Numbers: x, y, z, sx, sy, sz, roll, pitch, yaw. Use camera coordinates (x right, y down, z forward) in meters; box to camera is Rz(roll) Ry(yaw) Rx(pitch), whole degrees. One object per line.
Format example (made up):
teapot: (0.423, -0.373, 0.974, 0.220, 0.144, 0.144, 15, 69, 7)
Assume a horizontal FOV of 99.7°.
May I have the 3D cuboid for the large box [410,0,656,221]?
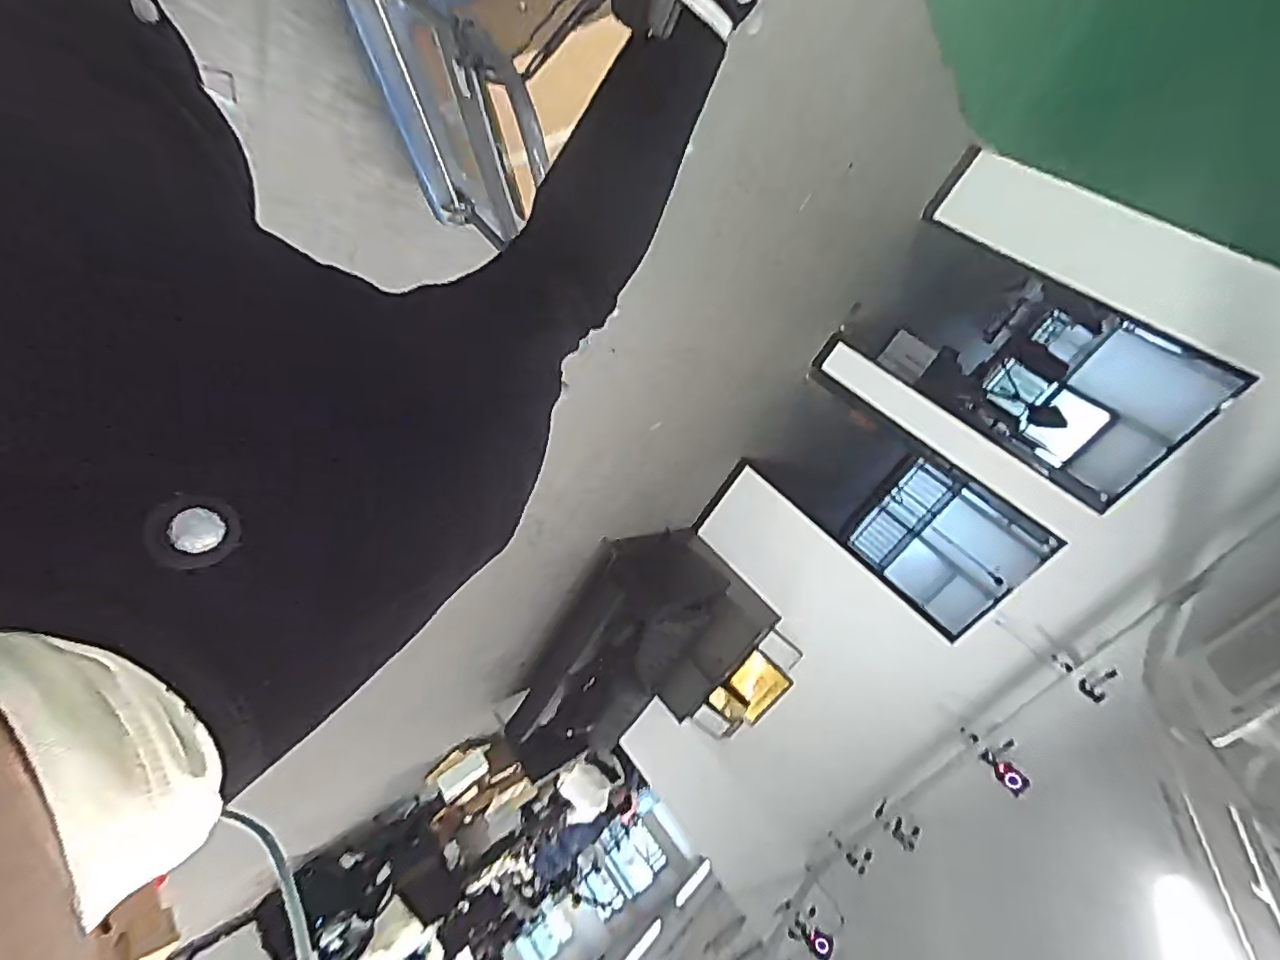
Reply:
large box: (-0.222, -0.880, 1.230, 0.408, 0.320, 0.320, -38, 154, -15)
